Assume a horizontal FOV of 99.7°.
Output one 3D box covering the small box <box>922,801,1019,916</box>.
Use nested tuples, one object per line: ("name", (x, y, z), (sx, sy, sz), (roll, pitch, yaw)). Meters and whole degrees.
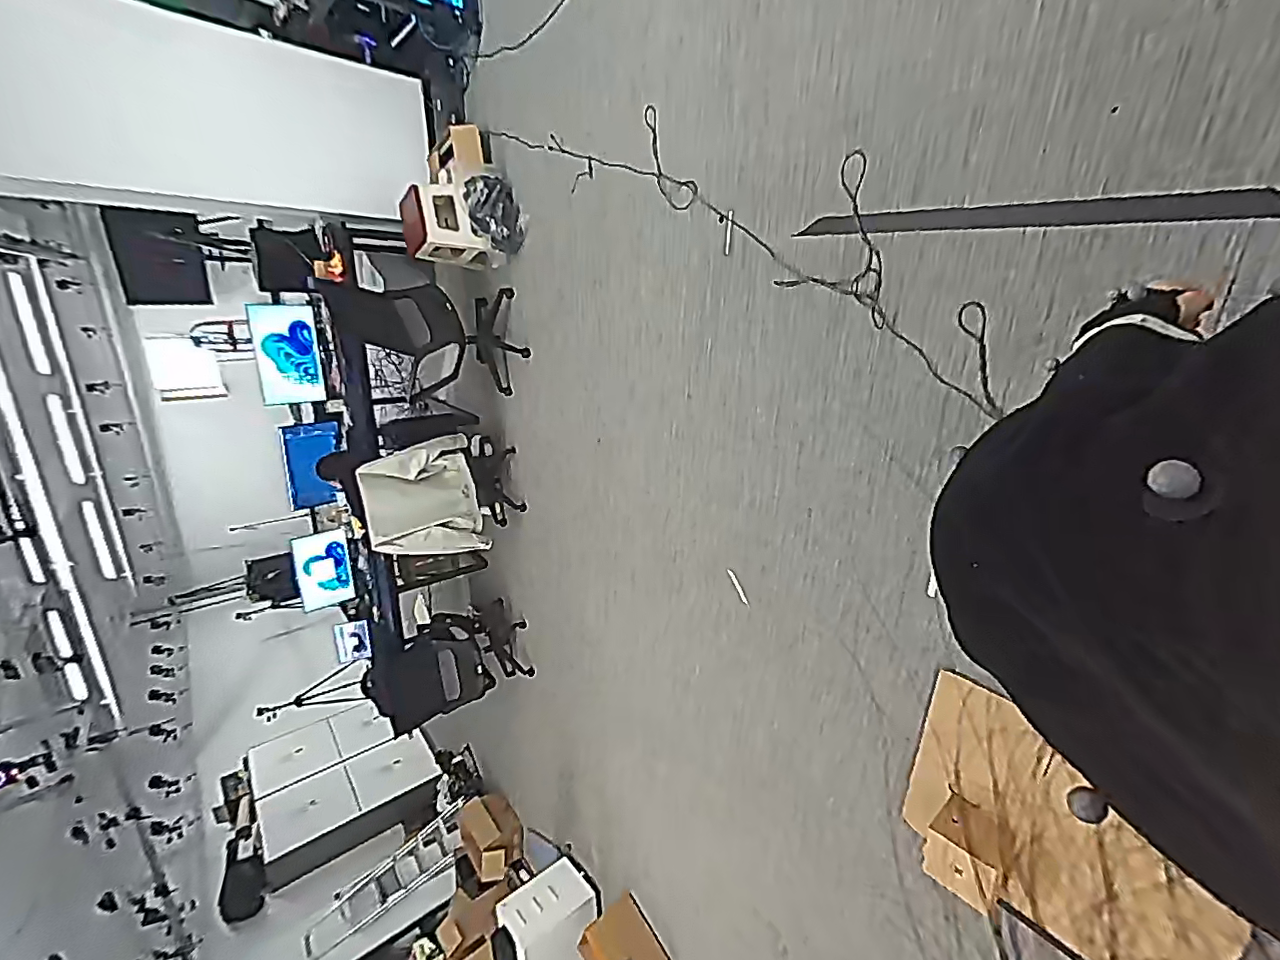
("small box", (0.926, 1.046, 1.518), (0.179, 0.176, 0.168), (16, 114, 48))
